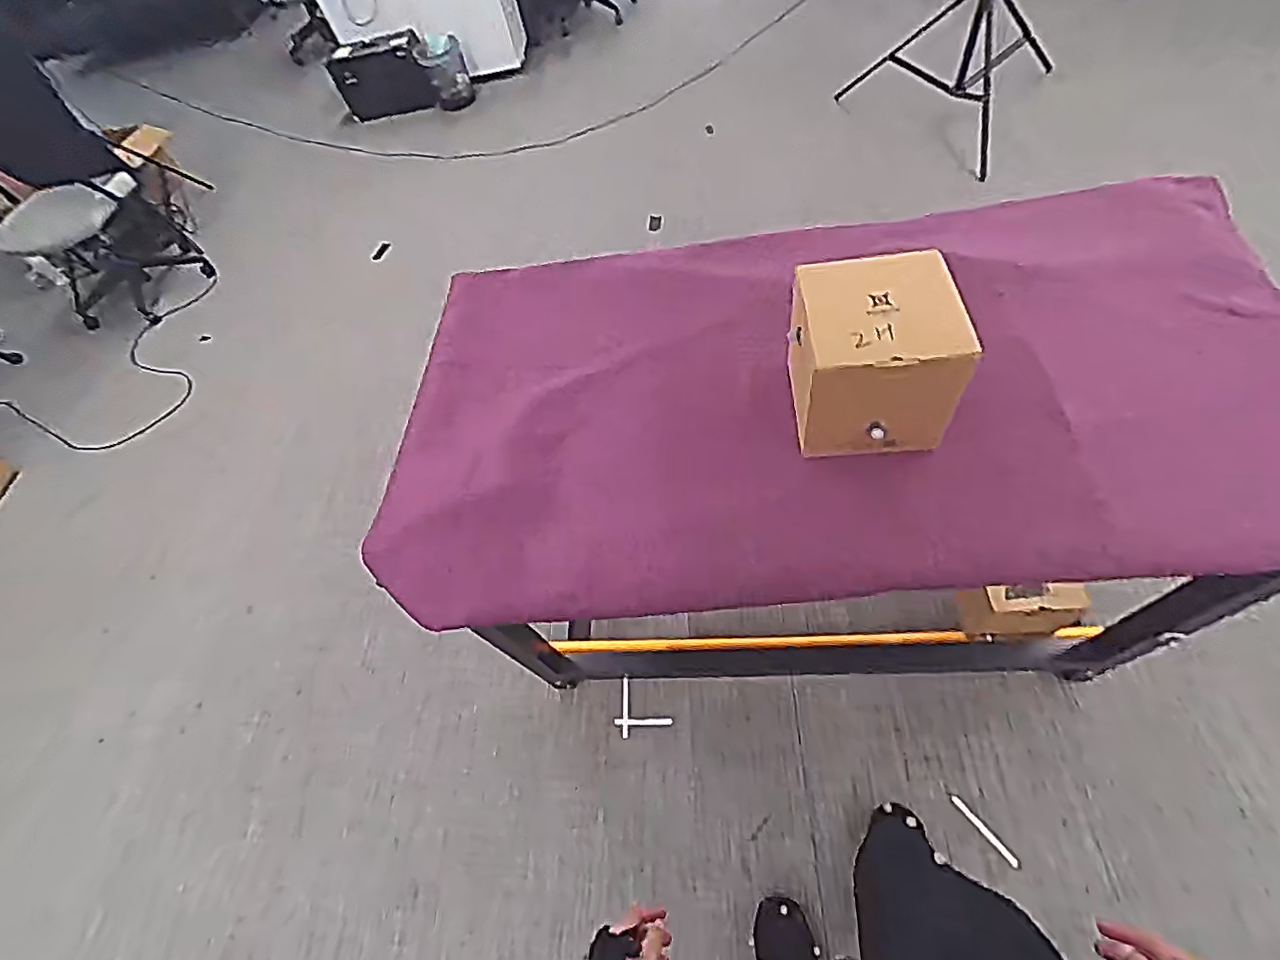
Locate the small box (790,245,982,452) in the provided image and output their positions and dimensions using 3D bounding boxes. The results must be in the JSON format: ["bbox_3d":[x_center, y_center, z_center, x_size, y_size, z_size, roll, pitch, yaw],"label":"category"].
[{"bbox_3d":[0.280,-0.155,0.664,0.168,0.176,0.179,-3,57,10],"label":"small box"}]

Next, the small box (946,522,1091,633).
[{"bbox_3d":[0.740,0.203,1.081,0.168,0.176,0.179,-4,57,10],"label":"small box"}]
